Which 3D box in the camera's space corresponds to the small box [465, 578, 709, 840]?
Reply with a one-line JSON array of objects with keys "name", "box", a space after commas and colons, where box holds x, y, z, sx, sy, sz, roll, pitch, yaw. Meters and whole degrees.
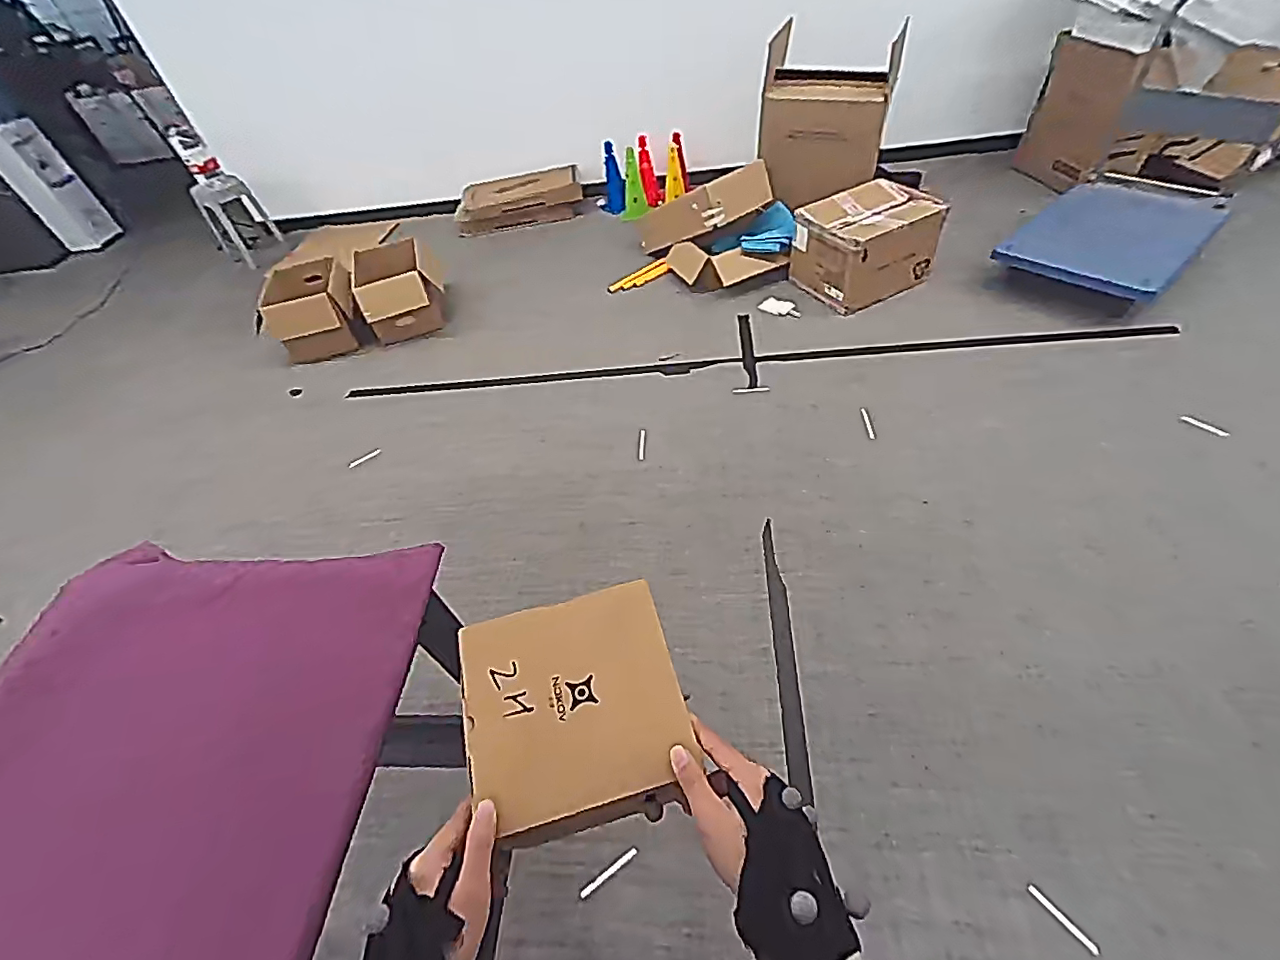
[{"name": "small box", "box": [-0.048, 0.217, 0.505, 0.179, 0.176, 0.168, -14, 55, -6]}]
